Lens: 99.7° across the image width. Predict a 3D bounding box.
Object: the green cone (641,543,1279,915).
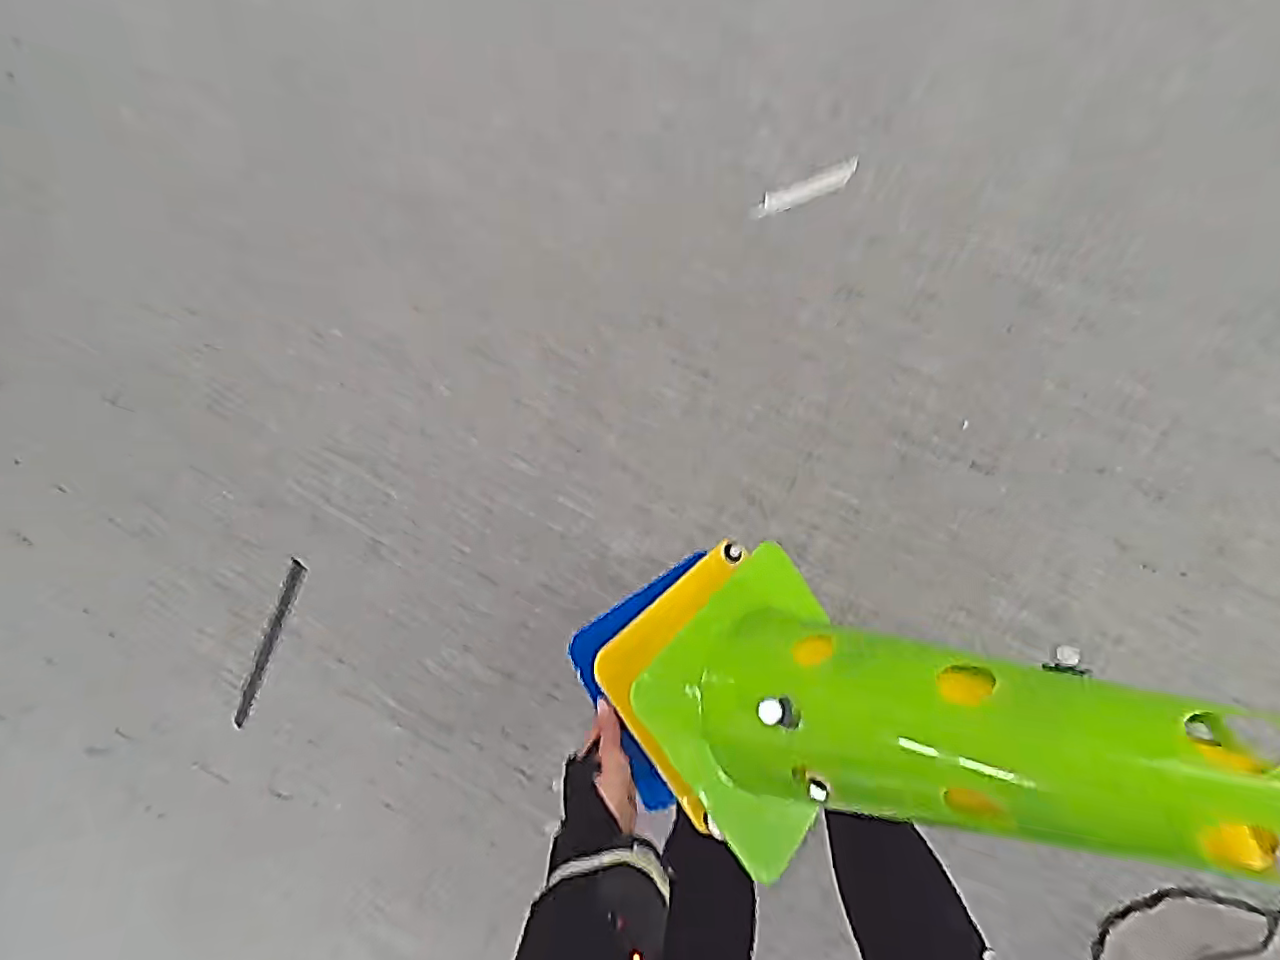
[{"bbox_3d":[0.194,0.143,0.290,0.202,0.368,0.200,-39,97,-30],"label":"green cone"}]
